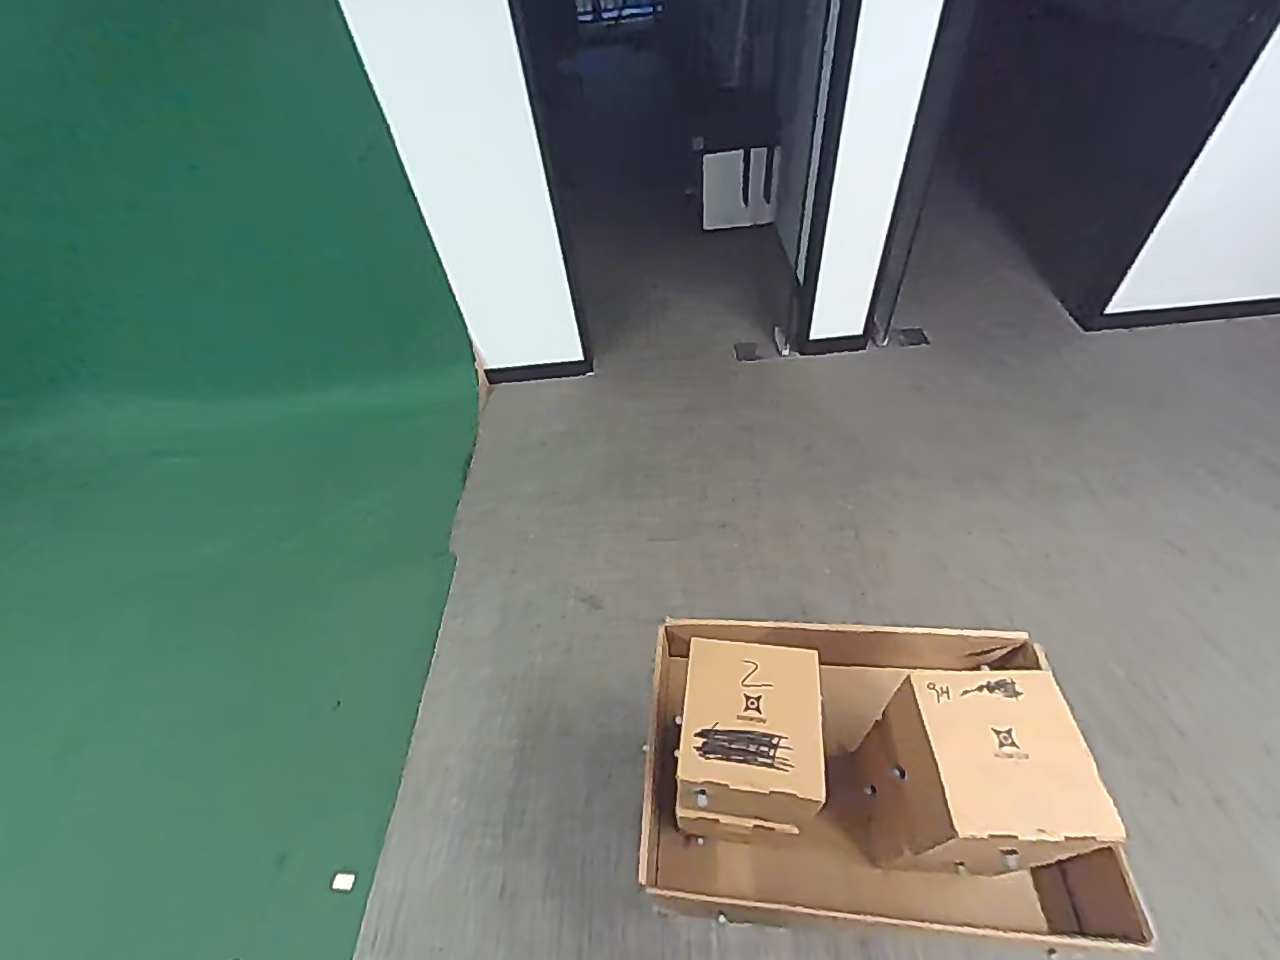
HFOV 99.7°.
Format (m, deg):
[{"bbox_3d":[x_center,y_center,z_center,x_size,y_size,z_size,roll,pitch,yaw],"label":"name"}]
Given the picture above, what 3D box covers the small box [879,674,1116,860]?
[{"bbox_3d":[0.415,0.356,0.668,0.168,0.176,0.179,-1,50,6],"label":"small box"}]
